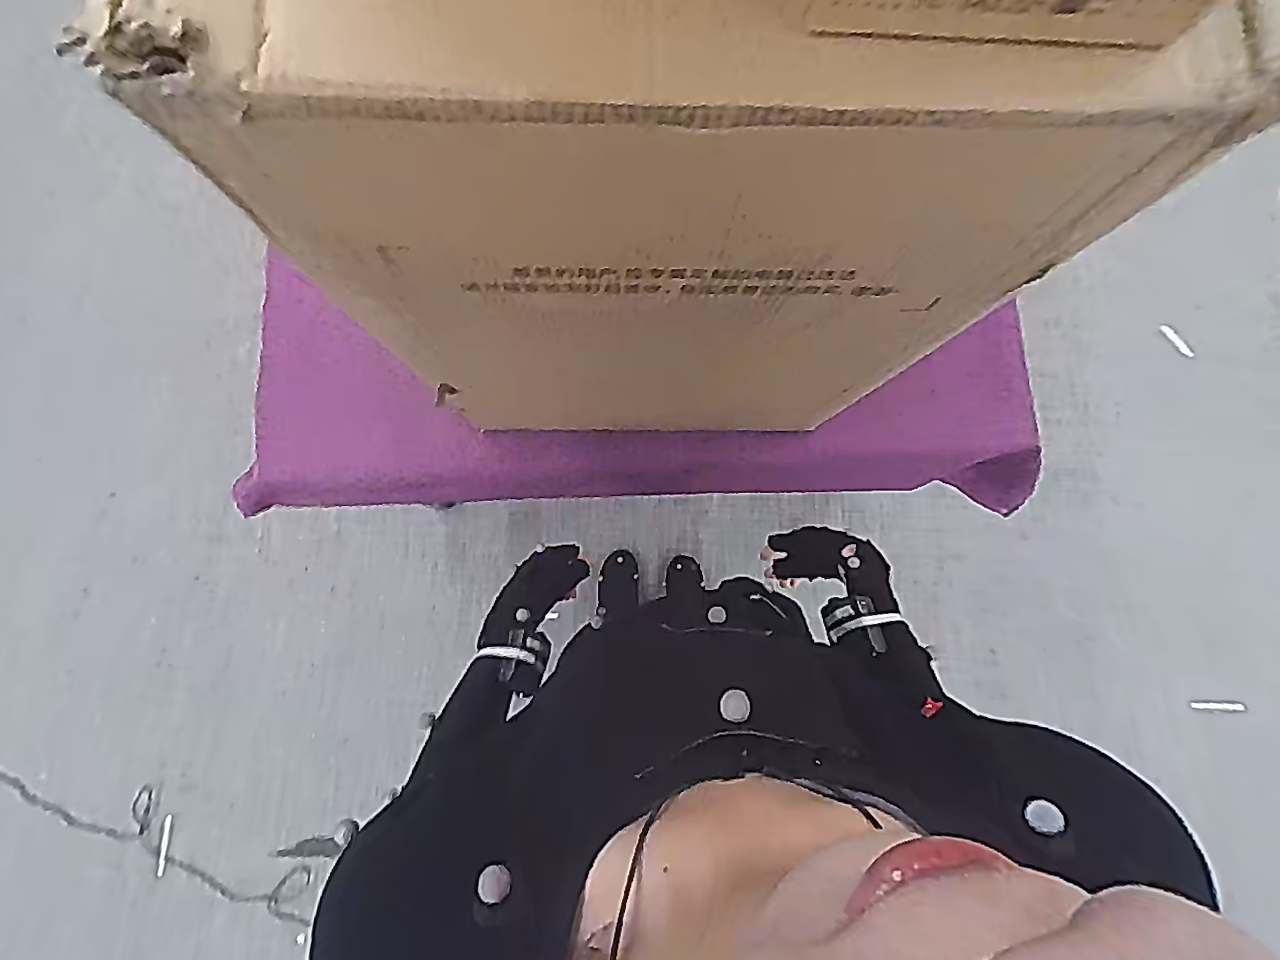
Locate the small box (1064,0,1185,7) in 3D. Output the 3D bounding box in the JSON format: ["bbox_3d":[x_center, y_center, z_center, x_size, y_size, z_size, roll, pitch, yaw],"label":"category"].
[{"bbox_3d":[0.160,-0.290,0.157,0.168,0.176,0.179,2,82,-1],"label":"small box"}]
